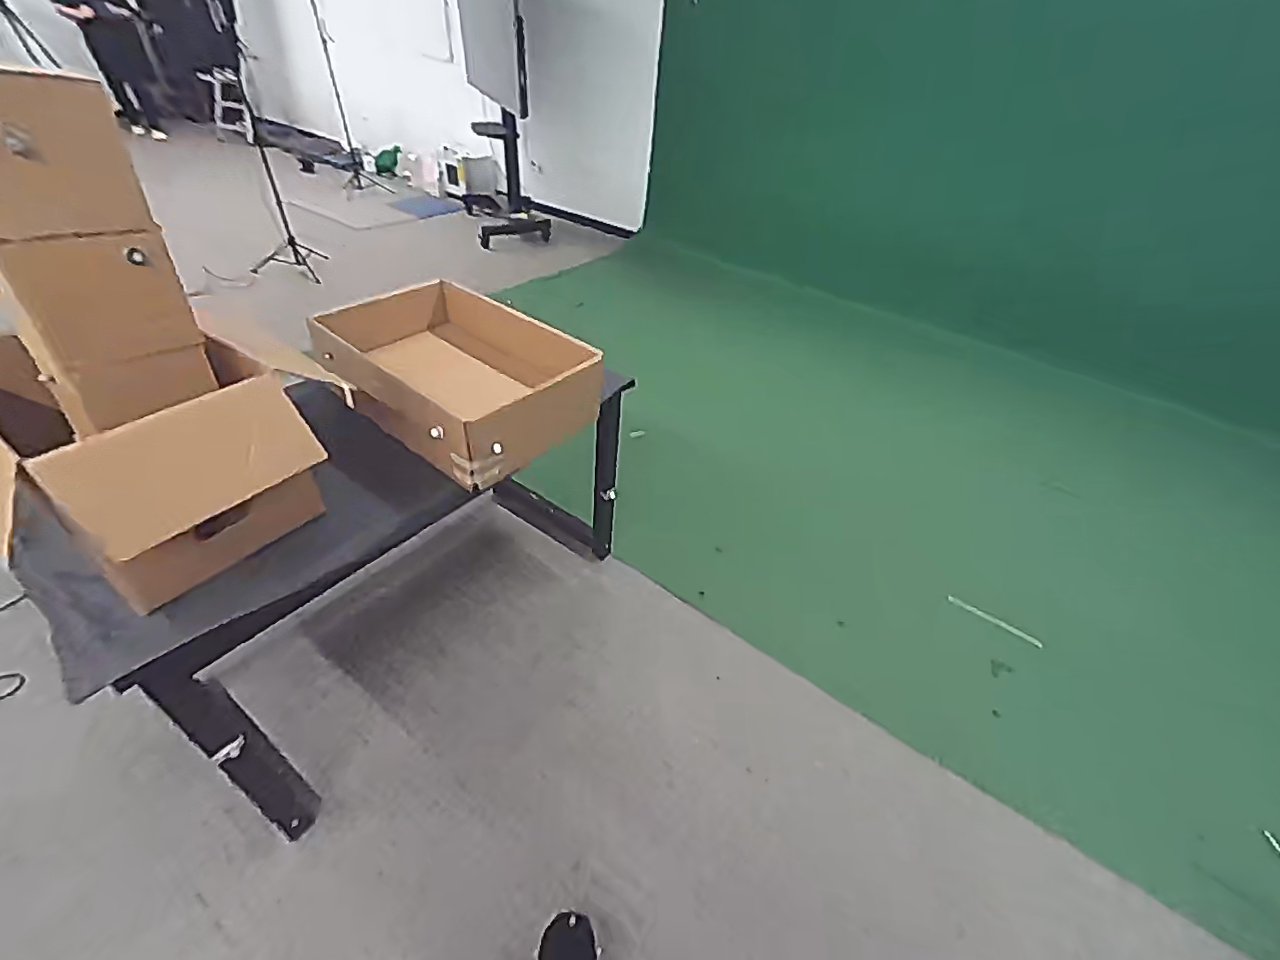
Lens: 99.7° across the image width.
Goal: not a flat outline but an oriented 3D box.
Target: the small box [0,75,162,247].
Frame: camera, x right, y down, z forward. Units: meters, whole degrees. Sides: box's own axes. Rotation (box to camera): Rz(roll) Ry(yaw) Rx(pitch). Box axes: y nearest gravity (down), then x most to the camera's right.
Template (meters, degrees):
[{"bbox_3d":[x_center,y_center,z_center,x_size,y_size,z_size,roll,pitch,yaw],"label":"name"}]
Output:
[{"bbox_3d":[-0.760,-0.397,0.674,0.168,0.176,0.179,28,40,27],"label":"small box"}]

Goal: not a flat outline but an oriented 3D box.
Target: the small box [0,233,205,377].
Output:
[{"bbox_3d":[-0.775,-0.263,0.767,0.168,0.176,0.179,27,39,26],"label":"small box"}]
